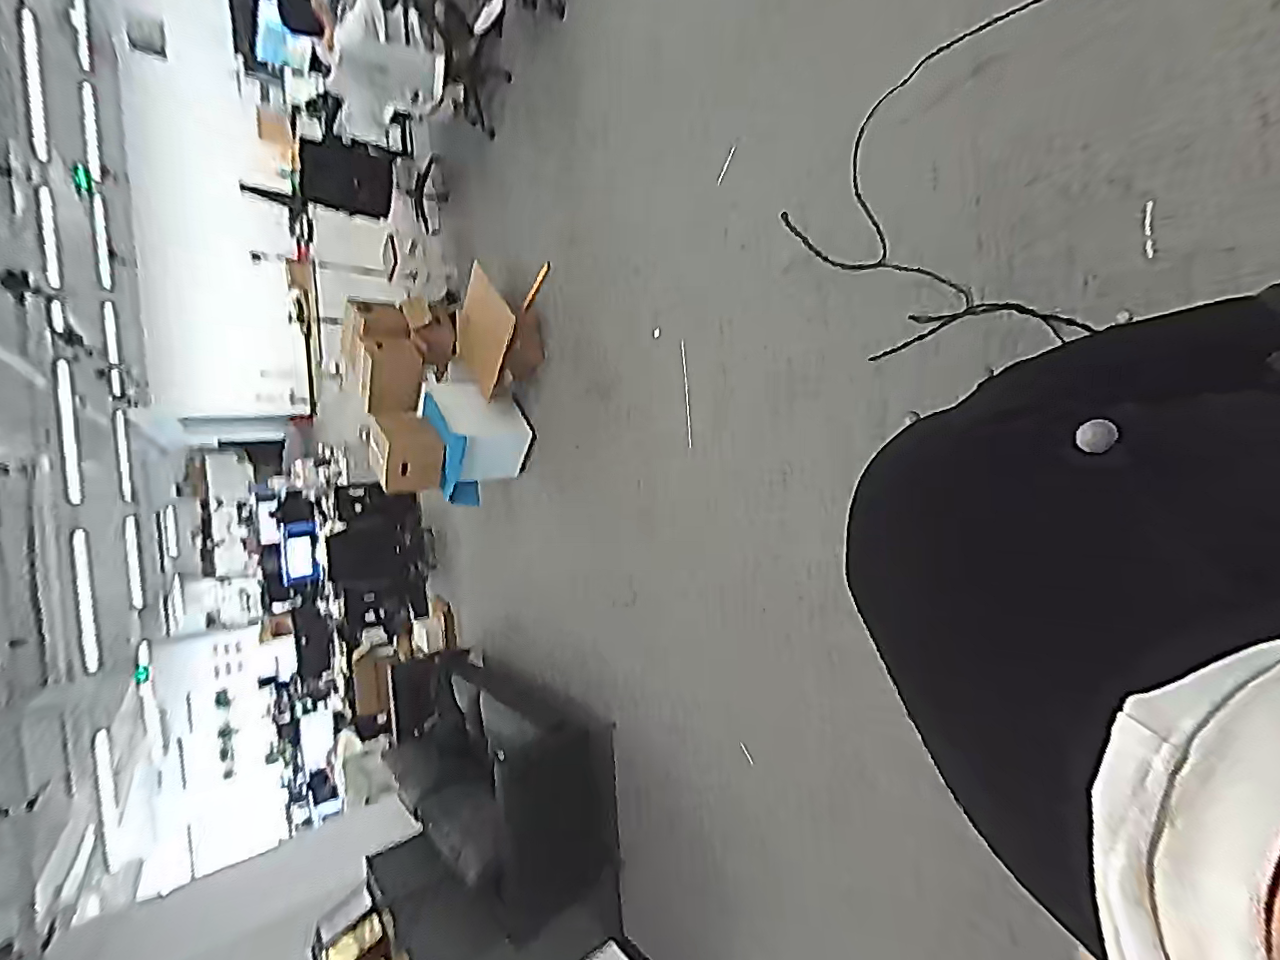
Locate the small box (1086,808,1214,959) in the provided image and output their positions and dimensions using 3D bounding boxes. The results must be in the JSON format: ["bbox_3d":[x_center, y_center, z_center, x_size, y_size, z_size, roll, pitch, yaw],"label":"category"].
[{"bbox_3d":[0.994,0.792,1.053,0.168,0.176,0.179,1,95,50],"label":"small box"}]
